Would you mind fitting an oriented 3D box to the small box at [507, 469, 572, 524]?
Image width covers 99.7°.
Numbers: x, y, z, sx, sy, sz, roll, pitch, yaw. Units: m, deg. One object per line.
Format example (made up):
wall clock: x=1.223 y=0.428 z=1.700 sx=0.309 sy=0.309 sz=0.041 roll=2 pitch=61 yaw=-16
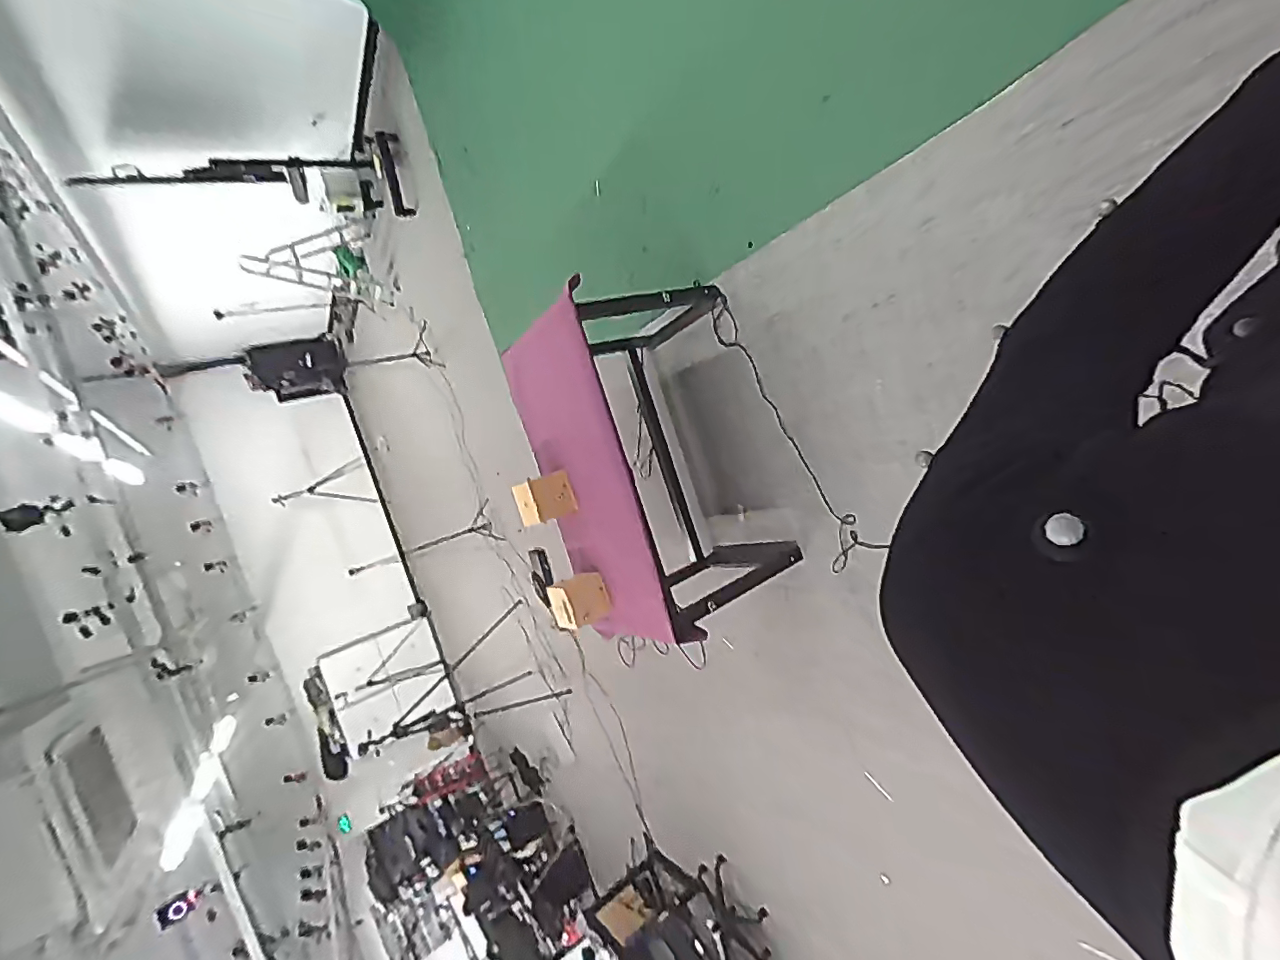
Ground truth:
small box: x=-0.390 y=0.065 z=2.109 sx=0.179 sy=0.176 sz=0.168 roll=-15 pitch=94 yaw=55
